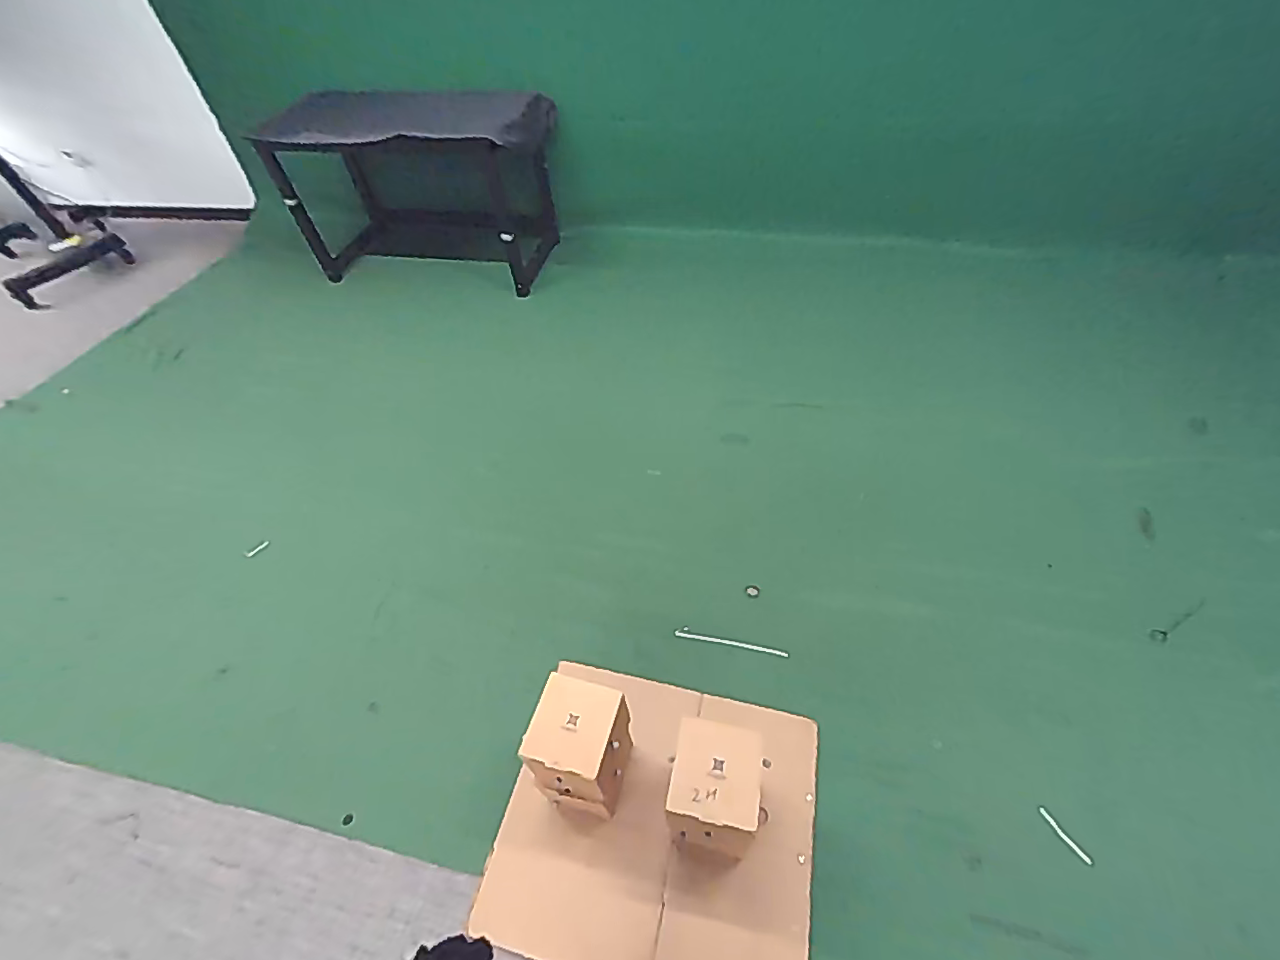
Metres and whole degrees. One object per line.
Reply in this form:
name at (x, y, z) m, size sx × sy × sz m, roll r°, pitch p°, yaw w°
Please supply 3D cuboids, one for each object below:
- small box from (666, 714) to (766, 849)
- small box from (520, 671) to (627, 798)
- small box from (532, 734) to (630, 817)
small box at (0.149, 0.595, 1.067) m, size 0.168 × 0.176 × 0.179 m, roll 8°, pitch 49°, yaw 13°
small box at (-0.130, 0.539, 1.143) m, size 0.168 × 0.176 × 0.179 m, roll 11°, pitch 51°, yaw 14°
small box at (-0.127, 0.654, 1.258) m, size 0.168 × 0.176 × 0.179 m, roll 9°, pitch 49°, yaw 14°
